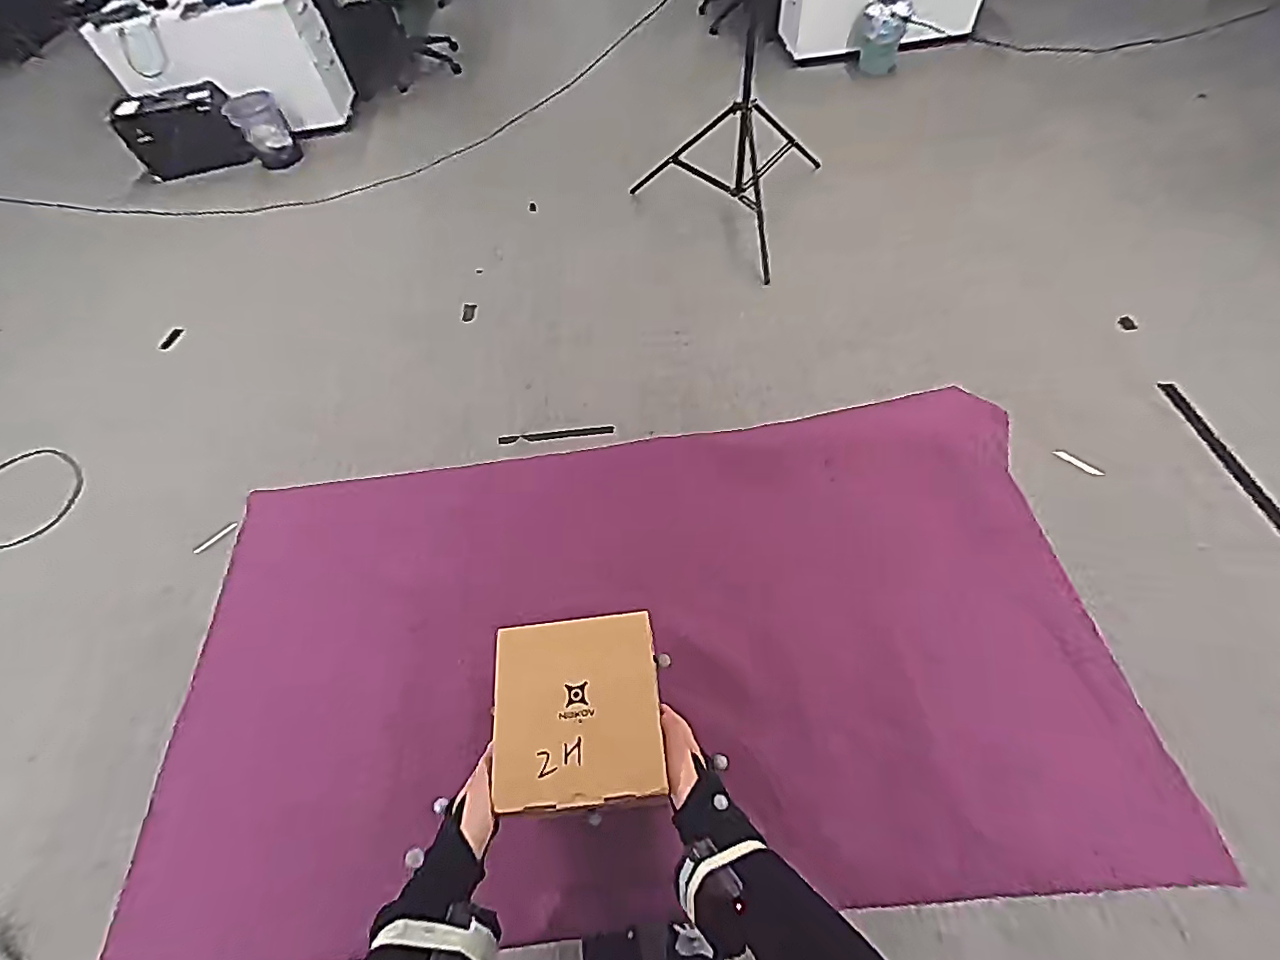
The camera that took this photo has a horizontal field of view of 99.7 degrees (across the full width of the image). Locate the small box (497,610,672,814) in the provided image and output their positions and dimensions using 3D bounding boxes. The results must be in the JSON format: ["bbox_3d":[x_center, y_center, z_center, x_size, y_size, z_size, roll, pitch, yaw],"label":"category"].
[{"bbox_3d":[-0.056,0.266,0.612,0.168,0.176,0.179,-7,57,0],"label":"small box"}]
